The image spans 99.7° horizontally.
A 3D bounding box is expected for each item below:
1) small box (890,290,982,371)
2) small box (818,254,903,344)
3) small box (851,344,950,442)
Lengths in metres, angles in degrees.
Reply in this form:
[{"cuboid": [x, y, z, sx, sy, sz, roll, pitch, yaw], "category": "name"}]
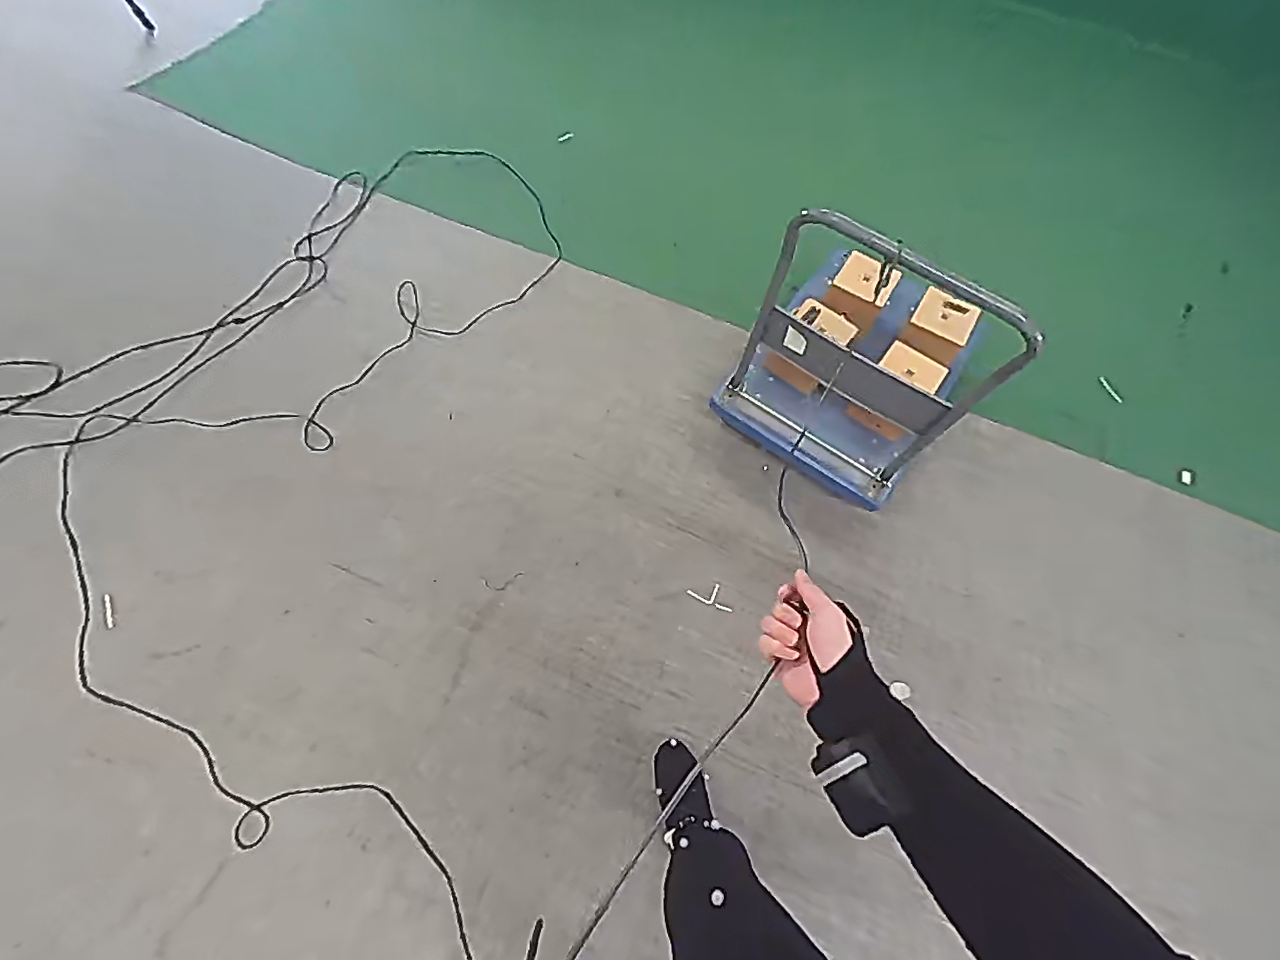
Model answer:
[{"cuboid": [0.899, -0.438, 1.655, 0.168, 0.176, 0.179, 31, 66, 12], "category": "small box"}, {"cuboid": [0.687, -0.564, 1.705, 0.168, 0.176, 0.179, 32, 66, 11], "category": "small box"}, {"cuboid": [0.738, -0.246, 1.552, 0.168, 0.176, 0.179, 35, 67, 13], "category": "small box"}]
